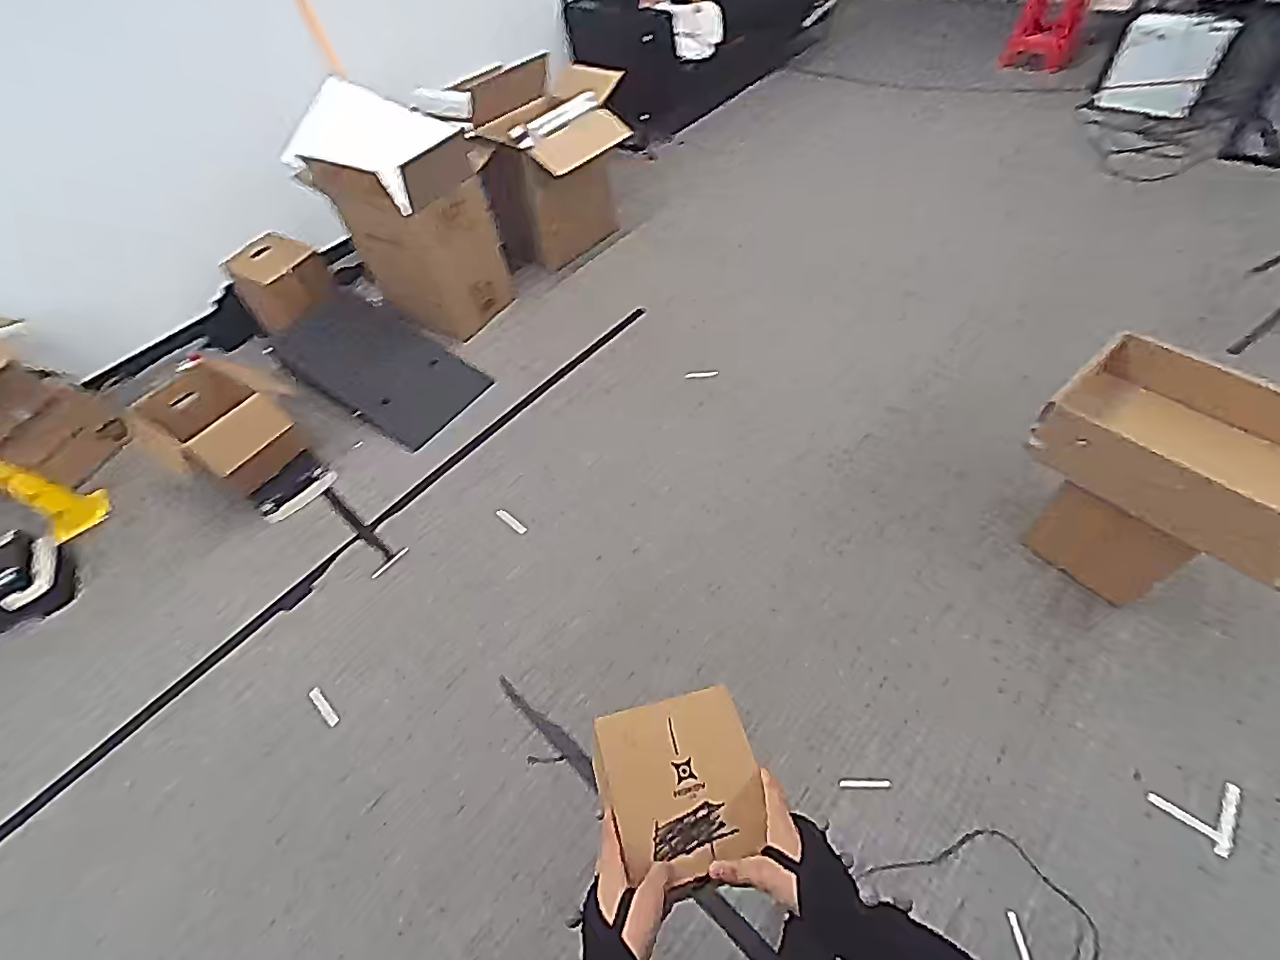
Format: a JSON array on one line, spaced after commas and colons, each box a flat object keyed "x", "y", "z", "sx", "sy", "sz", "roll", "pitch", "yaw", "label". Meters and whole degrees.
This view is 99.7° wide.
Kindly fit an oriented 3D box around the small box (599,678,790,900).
[{"x": 0.049, "y": 0.366, "z": 0.636, "sx": 0.168, "sy": 0.176, "sz": 0.179, "roll": -9, "pitch": 48, "yaw": -13, "label": "small box"}]
